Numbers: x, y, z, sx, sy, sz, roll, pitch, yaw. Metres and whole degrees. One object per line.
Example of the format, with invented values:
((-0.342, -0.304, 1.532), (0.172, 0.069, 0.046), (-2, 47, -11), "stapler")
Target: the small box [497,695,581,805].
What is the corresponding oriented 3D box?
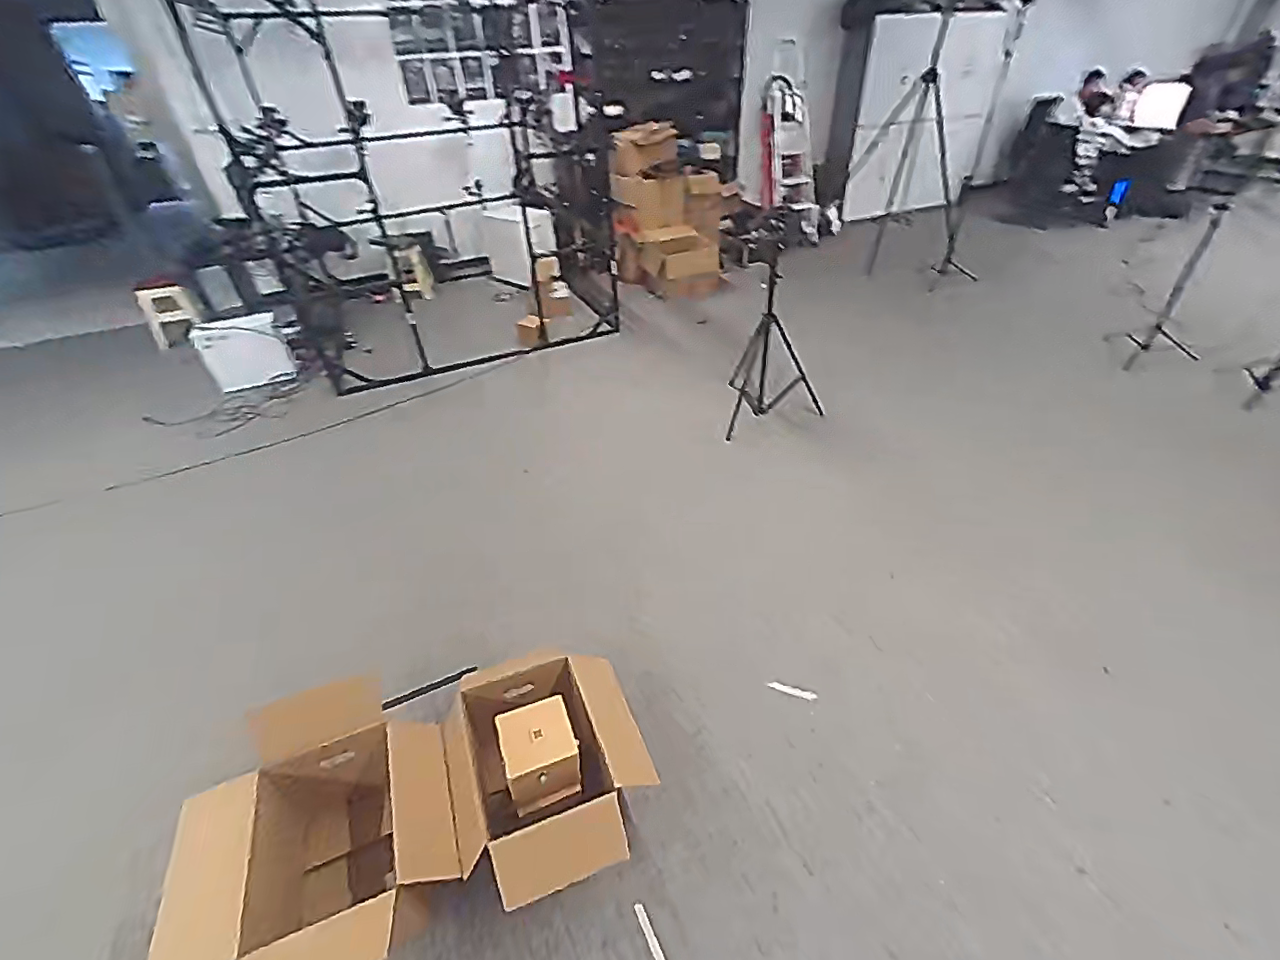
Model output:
((-0.256, 0.690, 1.384), (0.179, 0.176, 0.168), (-13, 41, -17), "small box")
